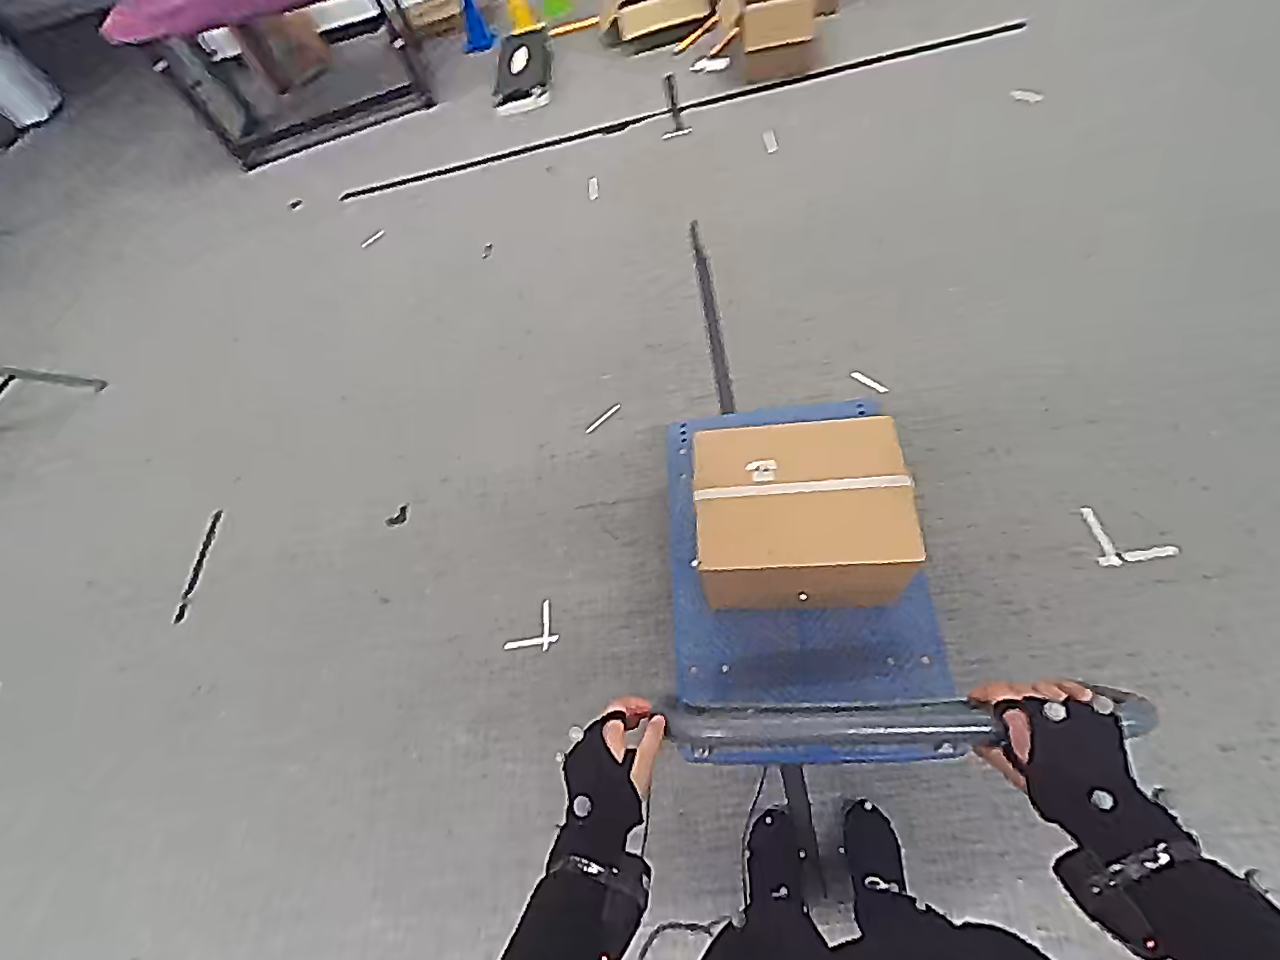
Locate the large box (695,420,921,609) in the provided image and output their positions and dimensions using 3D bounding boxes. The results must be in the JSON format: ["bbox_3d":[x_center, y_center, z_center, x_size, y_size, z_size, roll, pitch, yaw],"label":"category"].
[{"bbox_3d":[0.345,0.095,1.203,0.408,0.320,0.320,-4,61,11],"label":"large box"}]
